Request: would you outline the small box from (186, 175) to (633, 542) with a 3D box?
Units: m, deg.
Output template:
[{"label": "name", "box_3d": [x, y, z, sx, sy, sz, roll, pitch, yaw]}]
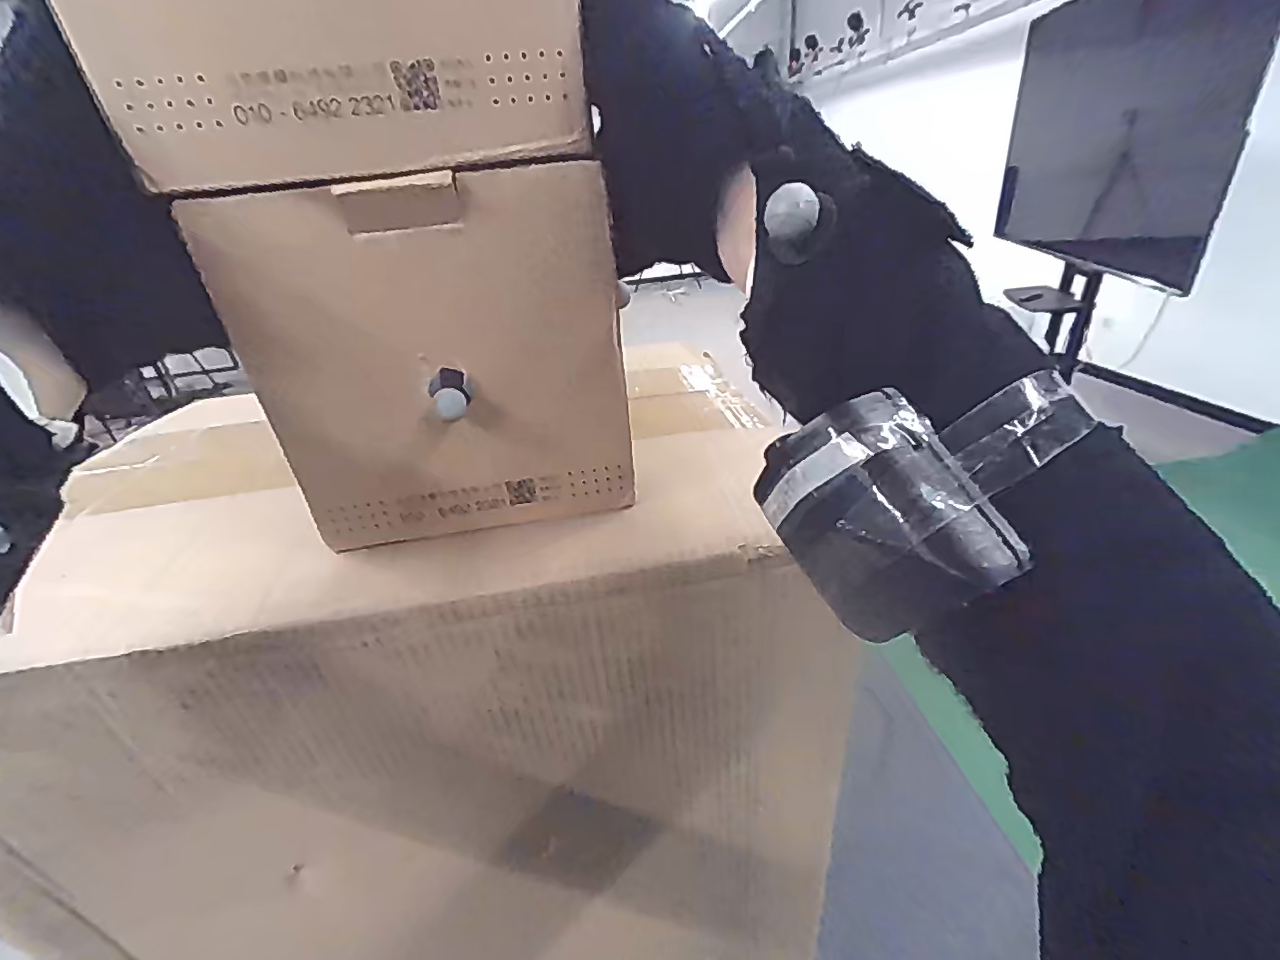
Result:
[{"label": "small box", "box_3d": [-0.101, -0.076, 0.326, 0.168, 0.176, 0.179, -8, 31, -5]}]

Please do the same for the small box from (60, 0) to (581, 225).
[{"label": "small box", "box_3d": [-0.121, -0.214, 0.241, 0.168, 0.176, 0.179, -8, 29, -6]}]
